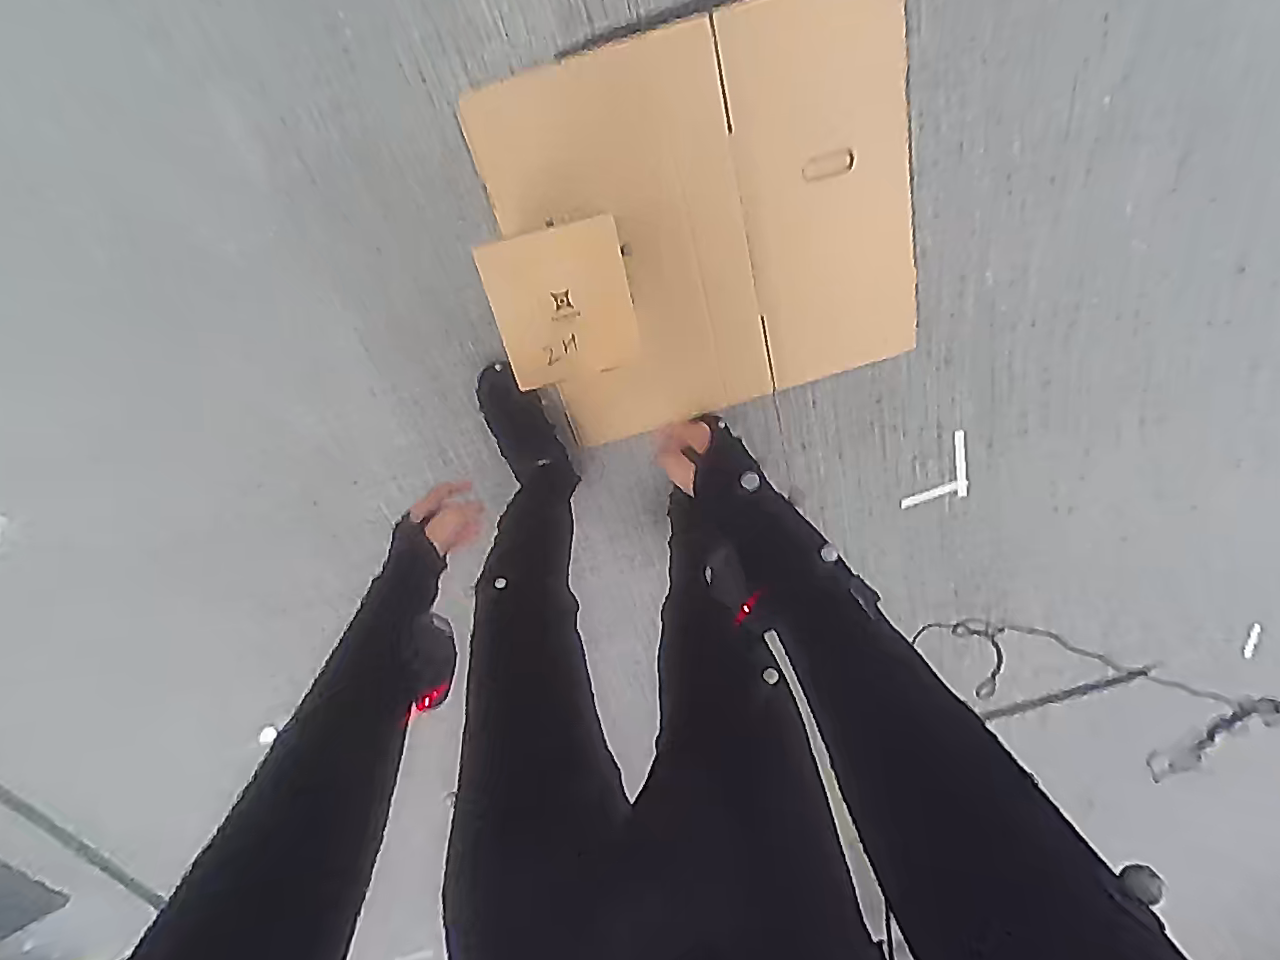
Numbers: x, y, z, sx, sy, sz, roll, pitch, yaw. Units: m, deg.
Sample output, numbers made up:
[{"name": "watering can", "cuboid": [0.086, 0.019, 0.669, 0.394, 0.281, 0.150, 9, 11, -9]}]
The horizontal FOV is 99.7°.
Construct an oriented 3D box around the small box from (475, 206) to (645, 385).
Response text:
[{"name": "small box", "cuboid": [-0.098, -0.247, 0.710, 0.168, 0.176, 0.179, -14, 118, 1]}]
